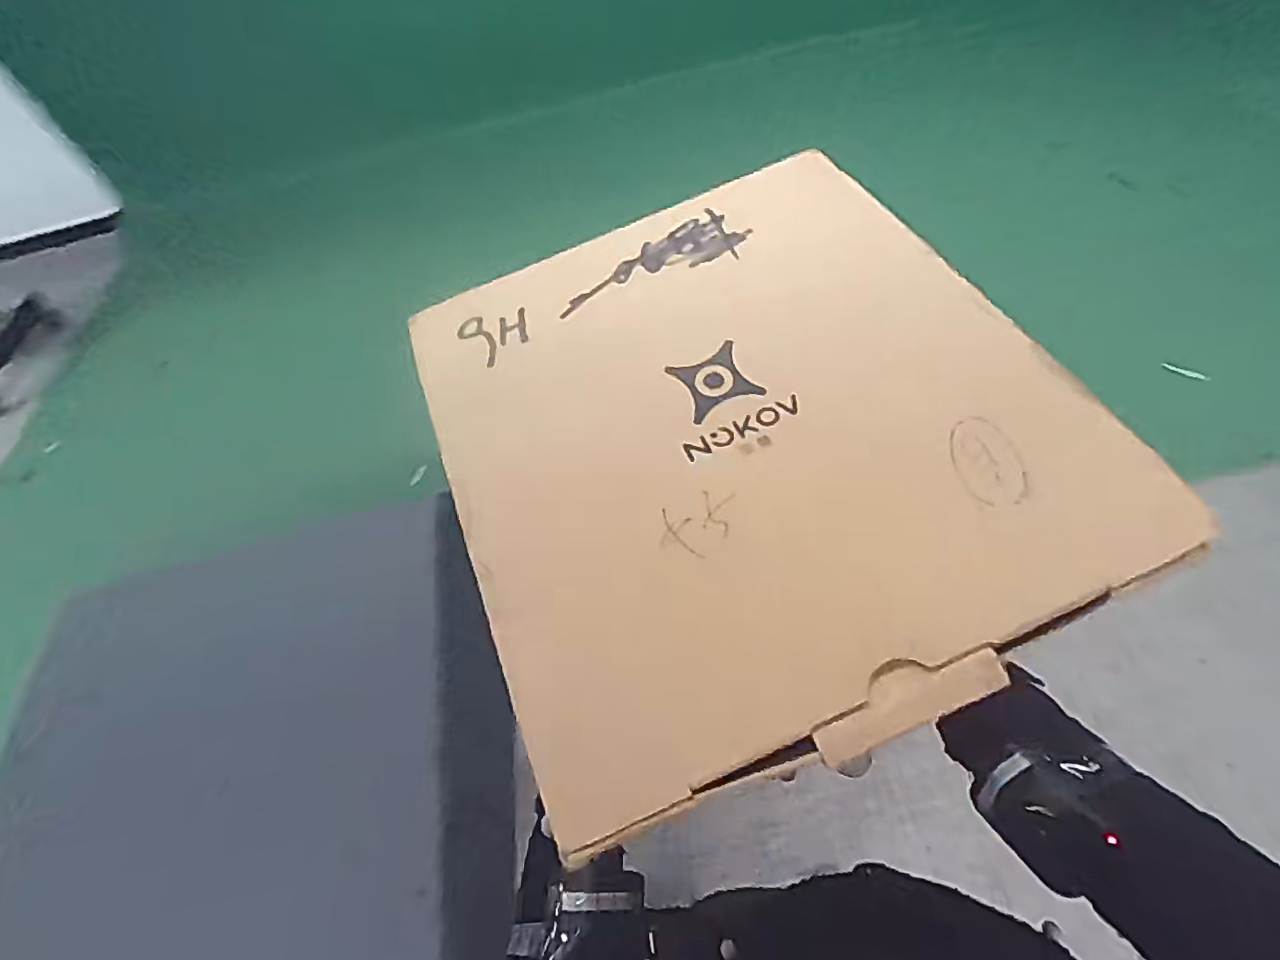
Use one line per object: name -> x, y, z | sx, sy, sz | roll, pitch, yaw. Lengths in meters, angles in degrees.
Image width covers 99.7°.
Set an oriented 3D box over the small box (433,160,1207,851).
small box -> 0.041, 0.016, 0.232 | 0.168, 0.176, 0.179 | -22, 63, -2
